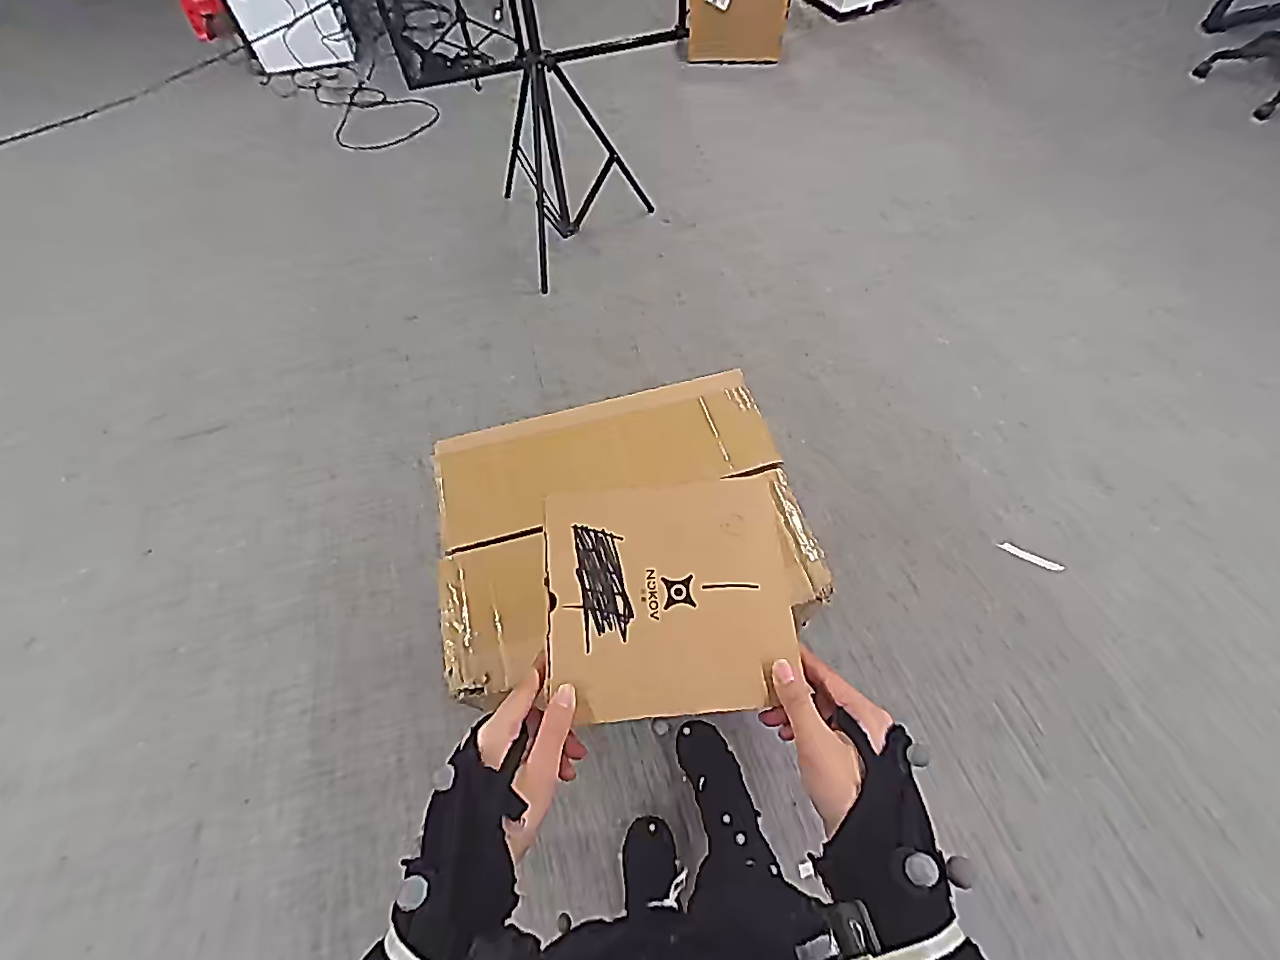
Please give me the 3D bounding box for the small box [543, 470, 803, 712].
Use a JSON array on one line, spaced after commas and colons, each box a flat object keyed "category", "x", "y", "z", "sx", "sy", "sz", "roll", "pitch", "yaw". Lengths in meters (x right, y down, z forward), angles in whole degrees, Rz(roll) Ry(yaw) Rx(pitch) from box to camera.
[{"category": "small box", "x": 0.020, "y": 0.104, "z": 0.463, "sx": 0.179, "sy": 0.176, "sz": 0.168, "roll": -5, "pitch": 69, "yaw": -1}]
